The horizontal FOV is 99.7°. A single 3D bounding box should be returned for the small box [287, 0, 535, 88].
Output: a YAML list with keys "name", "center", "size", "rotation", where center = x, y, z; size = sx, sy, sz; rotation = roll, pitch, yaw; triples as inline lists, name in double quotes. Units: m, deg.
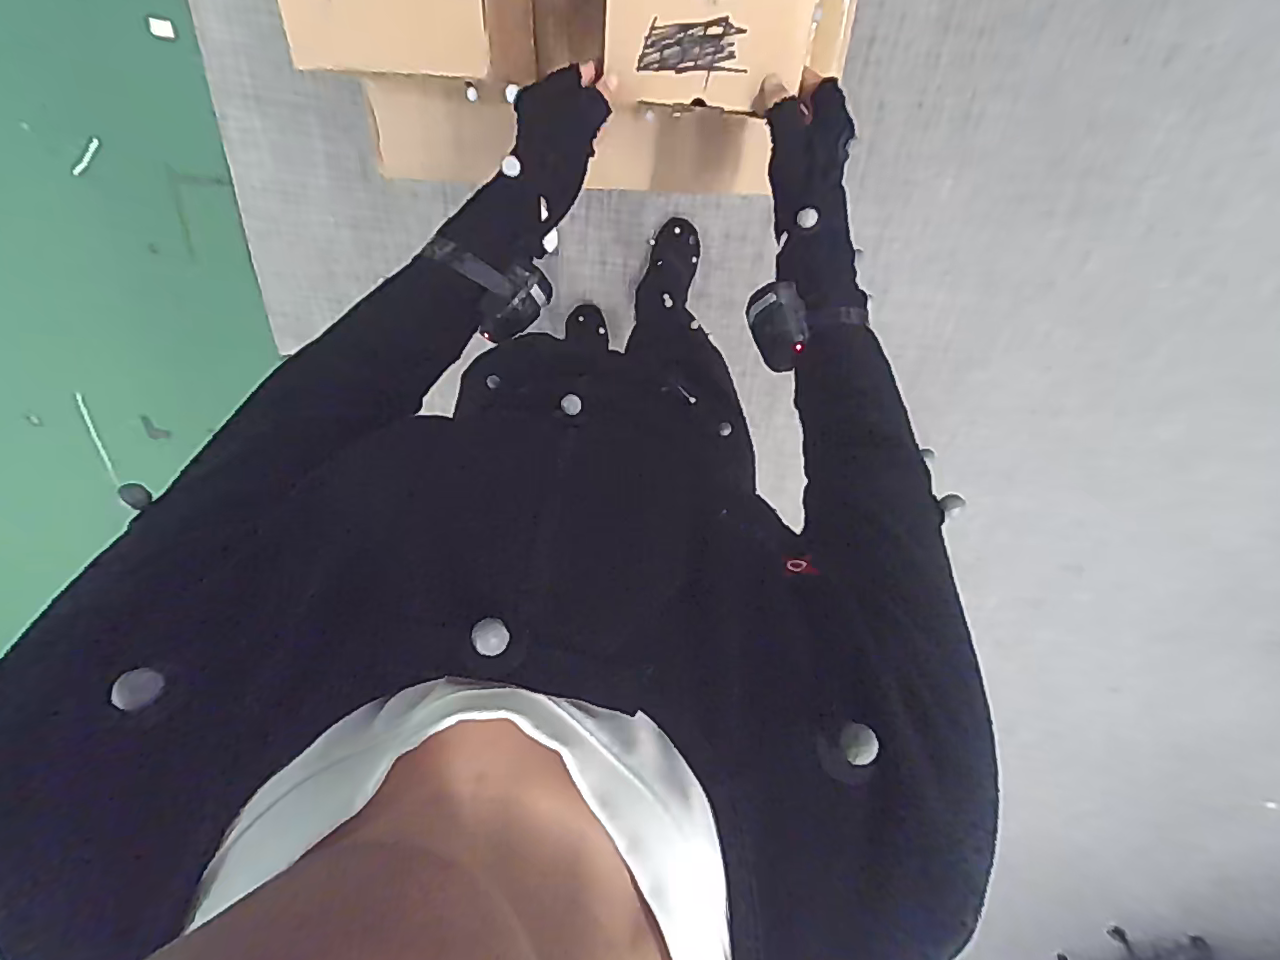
- name: "small box"
  center: [-0.200, -0.467, 0.494]
  size: [0.179, 0.176, 0.168]
  rotation: [5, 123, 5]

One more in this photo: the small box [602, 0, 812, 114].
- name: "small box"
  center: [0.063, -0.437, 0.479]
  size: [0.168, 0.176, 0.179]
  rotation: [6, 124, 2]
